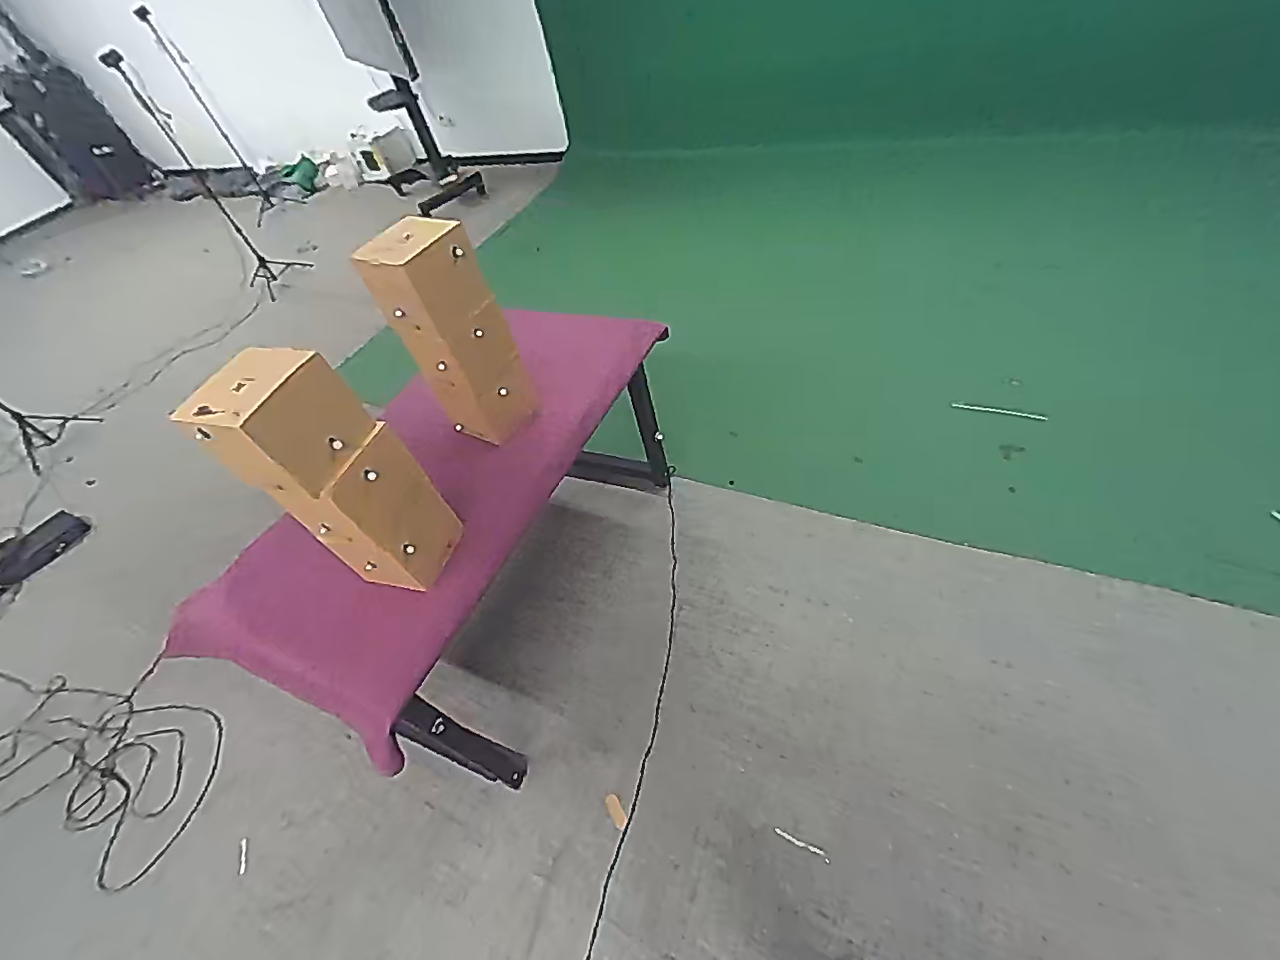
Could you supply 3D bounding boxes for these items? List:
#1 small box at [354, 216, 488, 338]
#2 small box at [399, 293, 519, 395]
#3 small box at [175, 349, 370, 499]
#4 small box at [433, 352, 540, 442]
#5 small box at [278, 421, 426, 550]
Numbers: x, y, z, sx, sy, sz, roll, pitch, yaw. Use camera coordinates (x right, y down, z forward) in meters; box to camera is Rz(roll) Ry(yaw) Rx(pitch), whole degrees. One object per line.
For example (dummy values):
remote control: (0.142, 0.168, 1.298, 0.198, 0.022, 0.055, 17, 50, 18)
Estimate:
small box: (-0.448, -0.430, 1.144, 0.168, 0.176, 0.179, 18, 57, 27)
small box: (-0.414, -0.325, 1.267, 0.168, 0.176, 0.179, 20, 58, 27)
small box: (-0.586, -0.094, 0.893, 0.168, 0.176, 0.179, 7, 53, 22)
small box: (-0.385, -0.224, 1.390, 0.168, 0.176, 0.179, 20, 57, 28)
small box: (-0.535, 0.005, 1.014, 0.168, 0.176, 0.179, 7, 53, 21)
